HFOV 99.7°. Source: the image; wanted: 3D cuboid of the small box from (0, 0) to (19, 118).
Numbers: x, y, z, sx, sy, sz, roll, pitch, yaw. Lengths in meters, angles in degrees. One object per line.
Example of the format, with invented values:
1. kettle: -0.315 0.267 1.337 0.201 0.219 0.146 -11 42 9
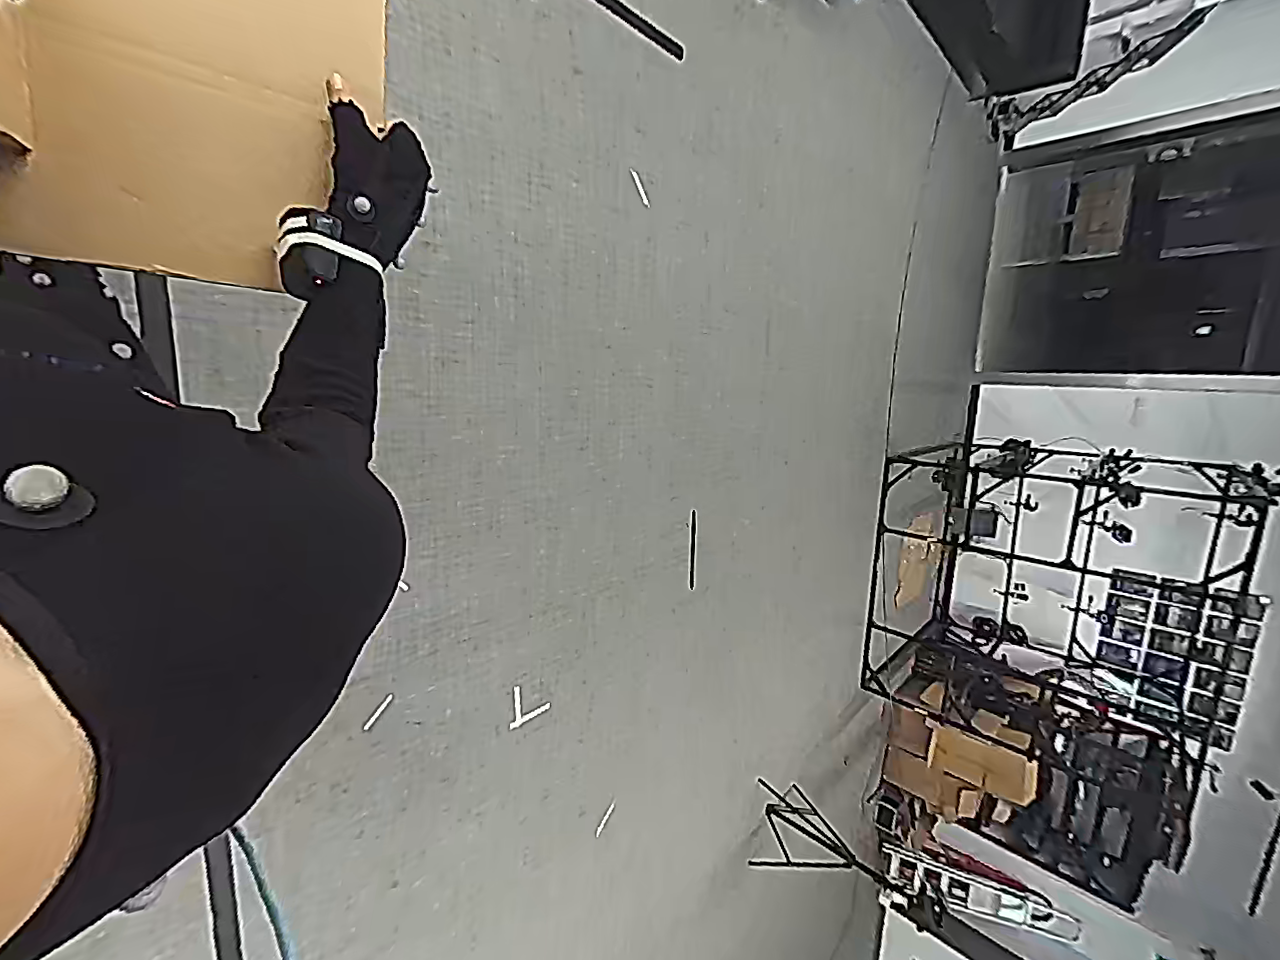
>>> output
1. small box: -0.445 -0.299 0.257 0.179 0.176 0.168 -1 106 -38
